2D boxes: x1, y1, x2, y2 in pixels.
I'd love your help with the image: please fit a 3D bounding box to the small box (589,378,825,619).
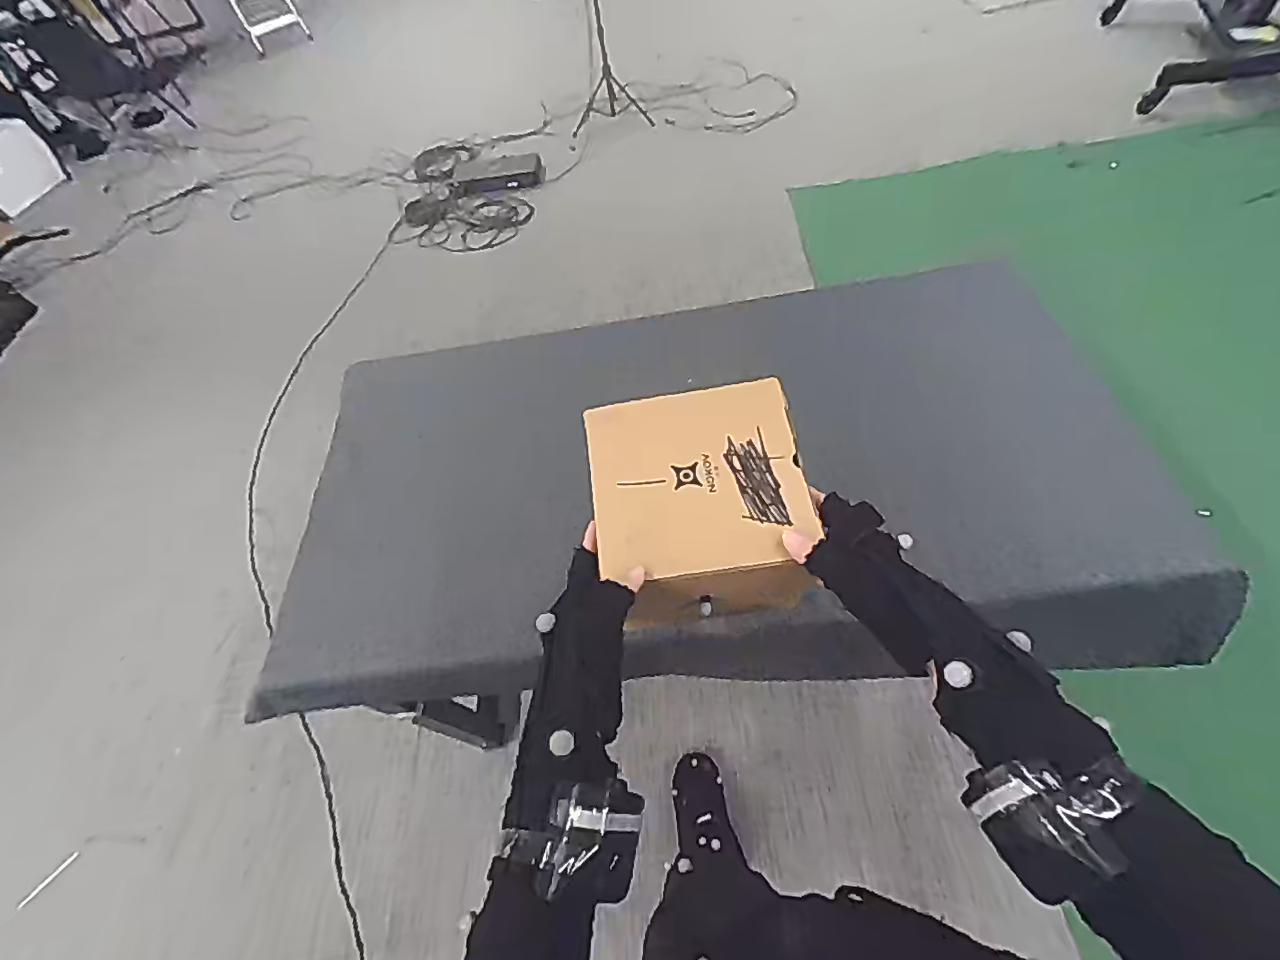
[{"bbox_3d":[0.055,0.028,0.520,0.179,0.176,0.168,-9,64,2],"label":"small box"}]
